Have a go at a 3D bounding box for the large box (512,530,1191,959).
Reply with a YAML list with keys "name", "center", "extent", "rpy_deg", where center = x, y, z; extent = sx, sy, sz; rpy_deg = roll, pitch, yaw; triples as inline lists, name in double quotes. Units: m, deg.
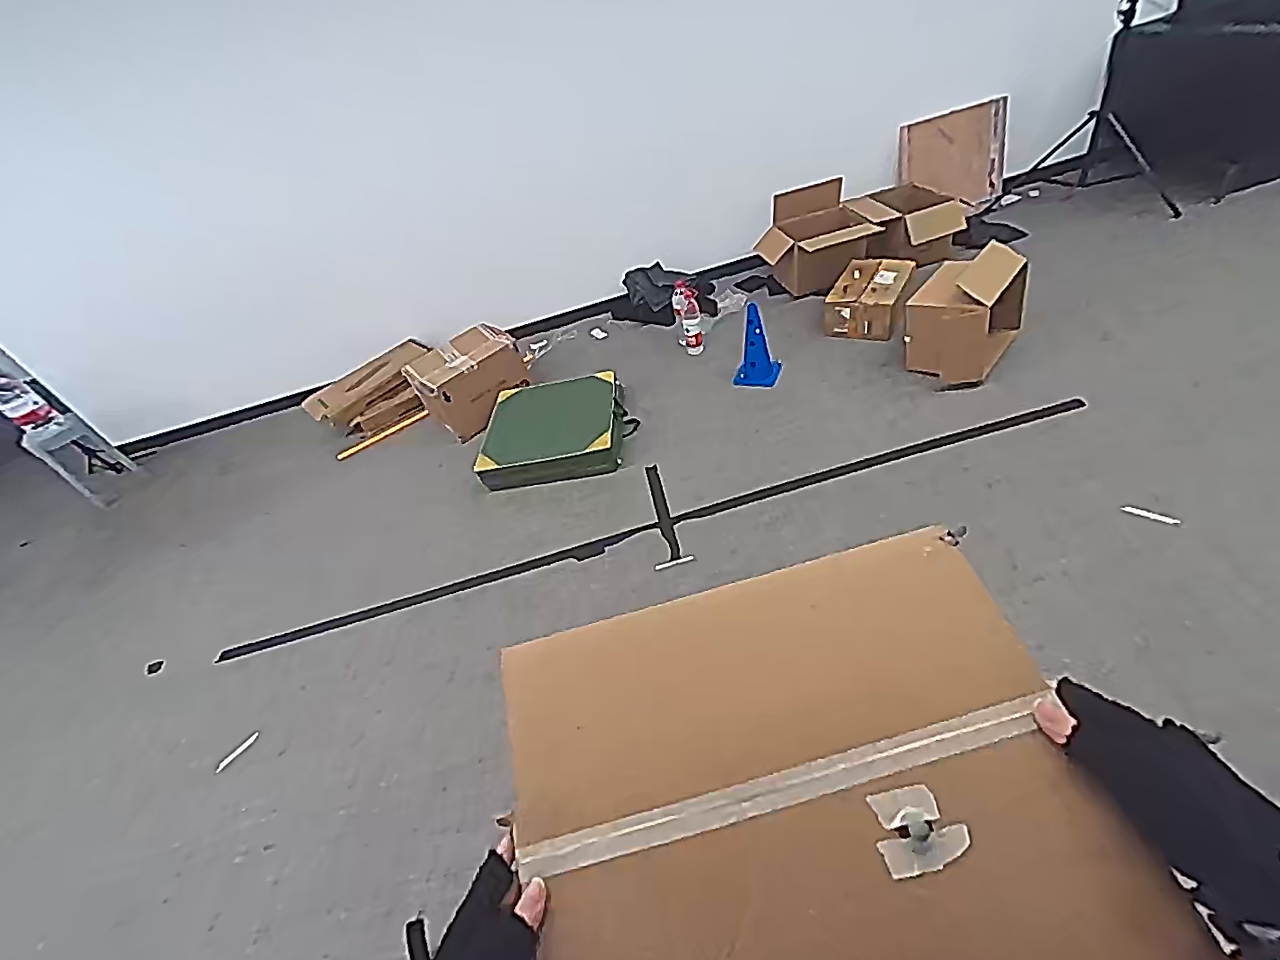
- name: "large box"
  center: [0.129, 0.302, 0.527]
  extent: [0.408, 0.320, 0.320]
  rpy_deg: [-16, 57, -2]
